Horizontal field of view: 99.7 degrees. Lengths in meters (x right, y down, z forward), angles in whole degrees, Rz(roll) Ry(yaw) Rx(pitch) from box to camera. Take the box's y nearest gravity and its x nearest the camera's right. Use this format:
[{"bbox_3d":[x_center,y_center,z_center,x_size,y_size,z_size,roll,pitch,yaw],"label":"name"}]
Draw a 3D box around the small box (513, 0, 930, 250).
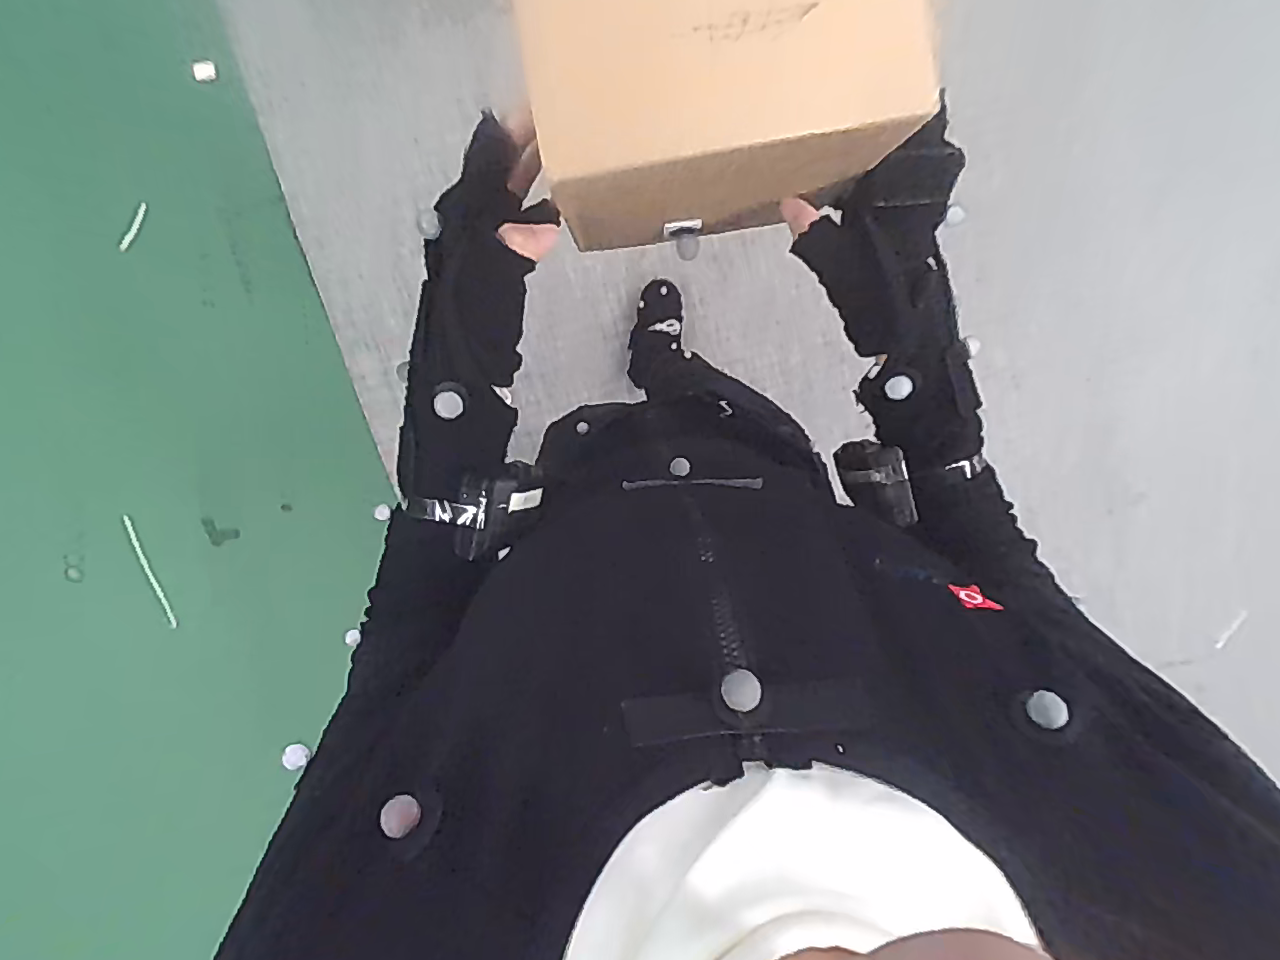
[{"bbox_3d":[0.026,-0.240,0.285,0.168,0.176,0.179,-9,103,3],"label":"small box"}]
